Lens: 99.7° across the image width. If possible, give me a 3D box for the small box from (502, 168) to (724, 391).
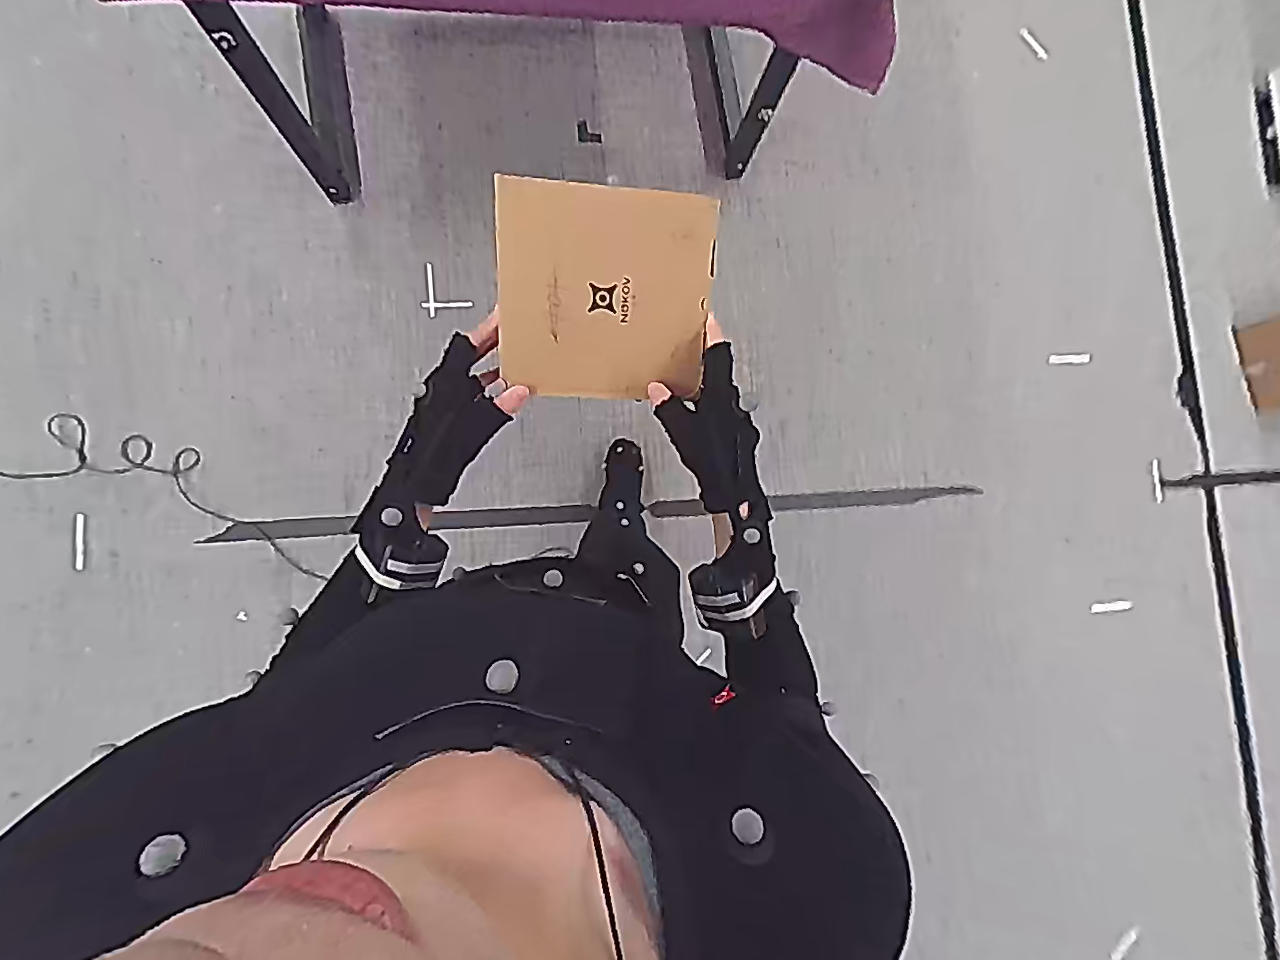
[{"bbox_3d":[-0.034,-0.180,0.514,0.179,0.176,0.168,-1,108,-9],"label":"small box"}]
